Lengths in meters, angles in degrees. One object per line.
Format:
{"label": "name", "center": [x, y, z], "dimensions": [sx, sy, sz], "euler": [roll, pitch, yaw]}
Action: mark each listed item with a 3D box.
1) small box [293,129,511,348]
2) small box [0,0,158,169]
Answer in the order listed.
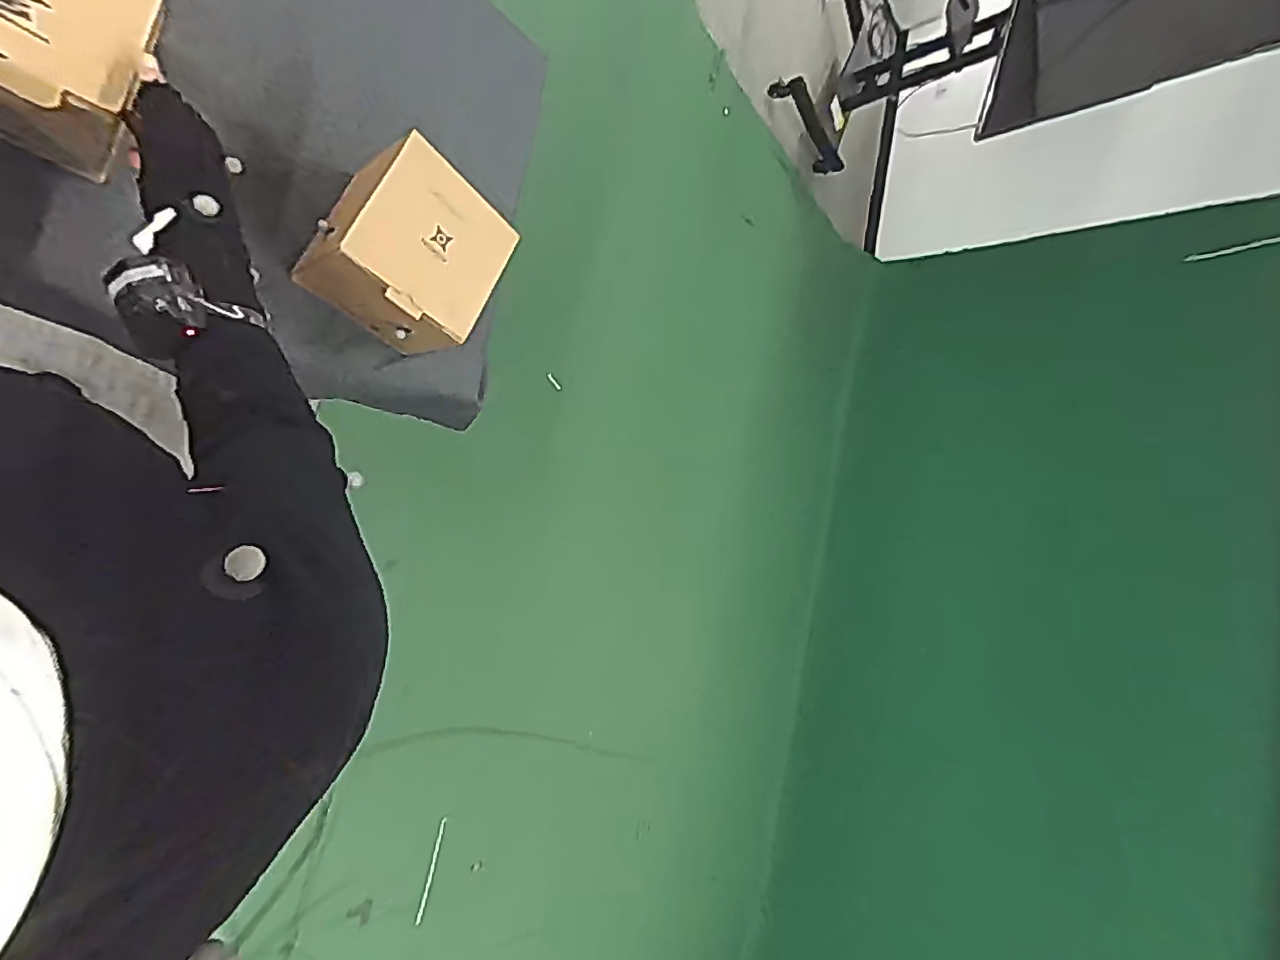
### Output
{"label": "small box", "center": [-0.304, -0.287, 0.687], "dimensions": [0.168, 0.176, 0.179], "euler": [37, 66, -45]}
{"label": "small box", "center": [-0.515, -0.392, 0.432], "dimensions": [0.168, 0.176, 0.179], "euler": [20, 79, -49]}
